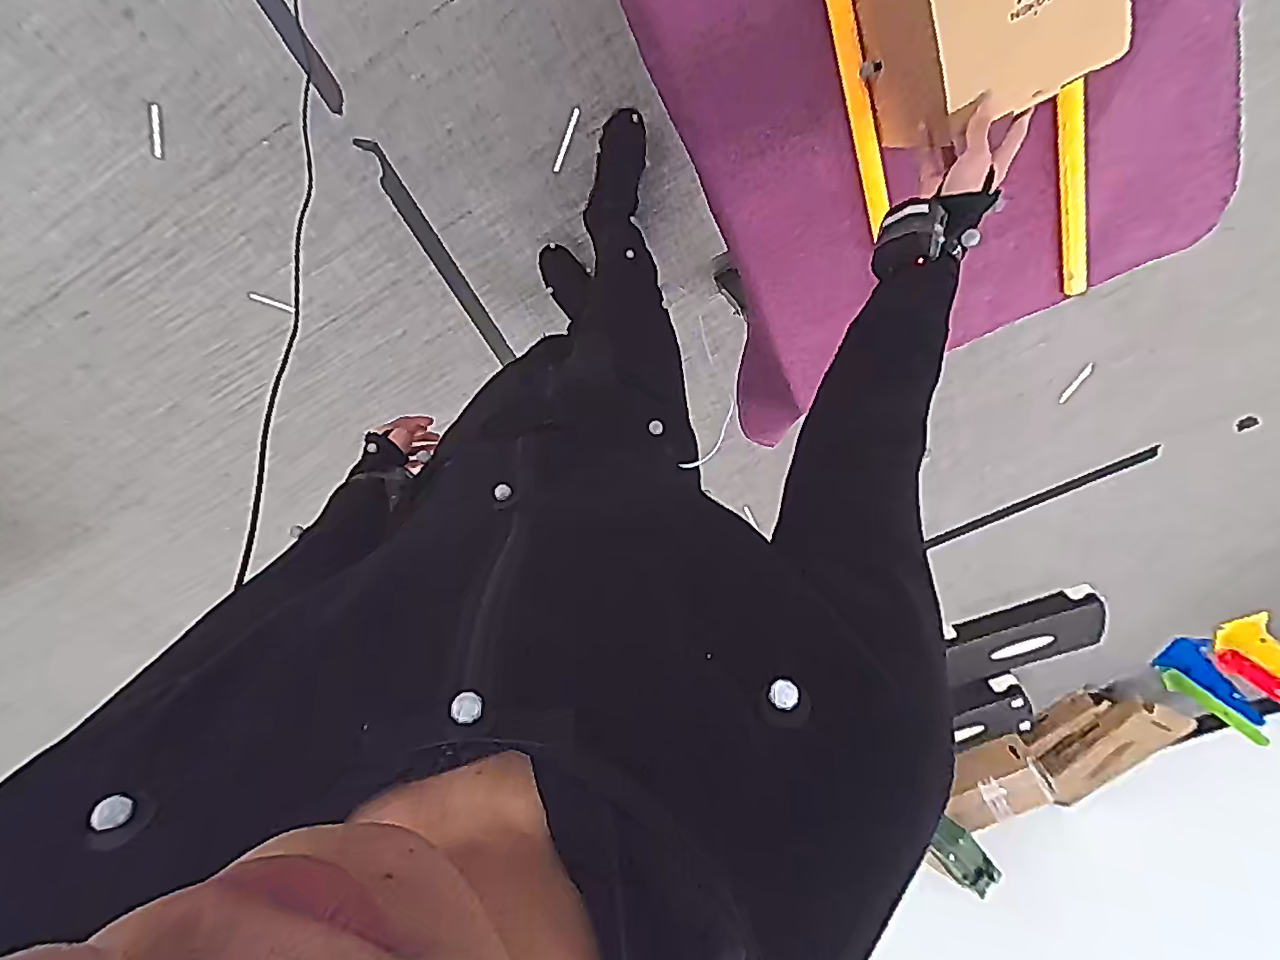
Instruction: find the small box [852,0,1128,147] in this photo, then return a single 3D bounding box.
[{"bbox_3d":[0.335,-0.466,0.540,0.168,0.176,0.179,-25,121,11],"label":"small box"}]
